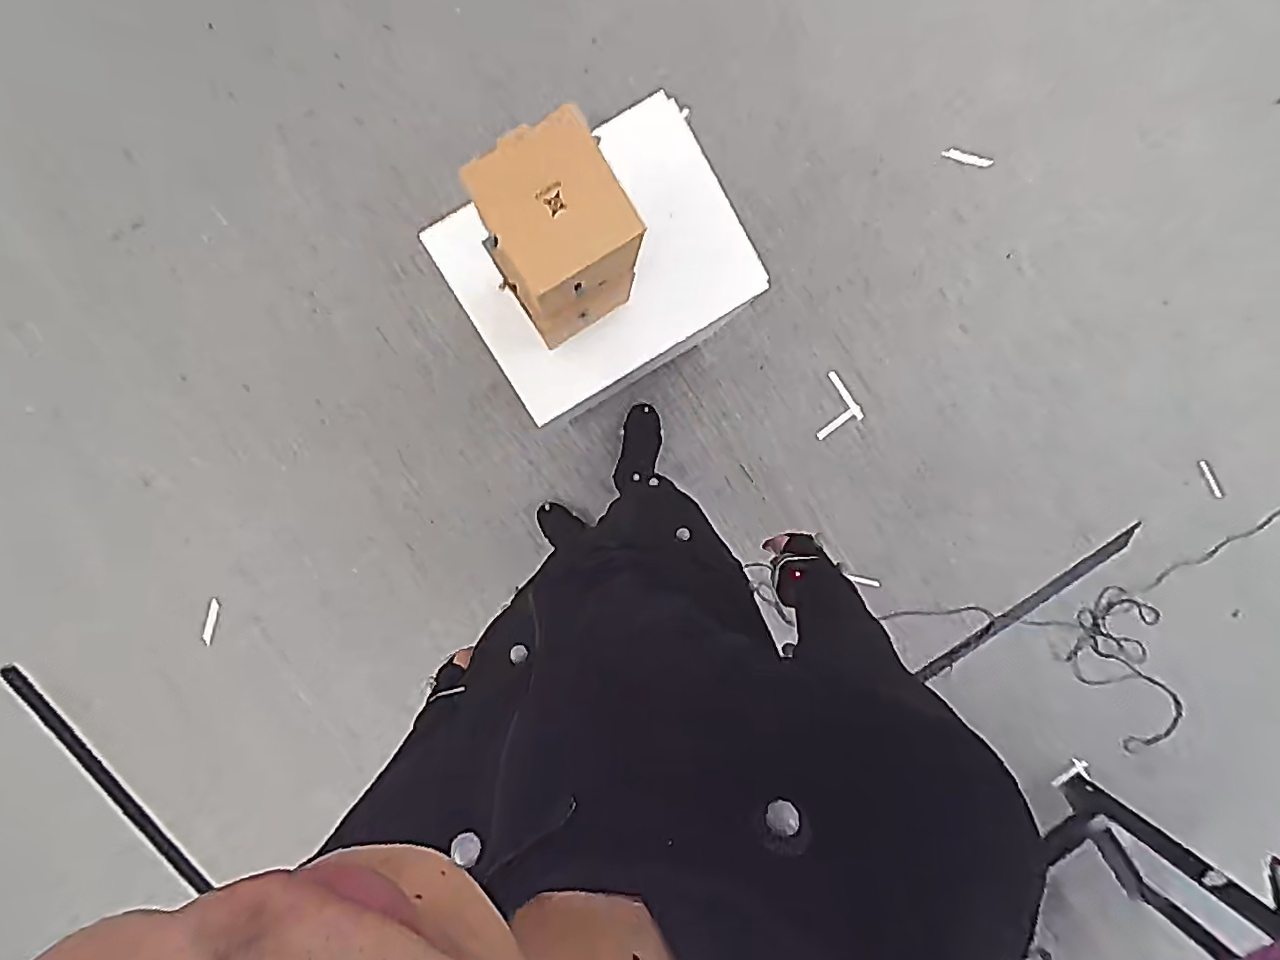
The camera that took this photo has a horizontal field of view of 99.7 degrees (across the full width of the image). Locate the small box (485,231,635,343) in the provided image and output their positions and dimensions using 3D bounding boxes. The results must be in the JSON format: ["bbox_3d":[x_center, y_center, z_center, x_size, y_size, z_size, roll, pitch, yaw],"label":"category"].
[{"bbox_3d":[-0.127,-0.350,0.901,0.179,0.176,0.168,-34,97,-2],"label":"small box"}]

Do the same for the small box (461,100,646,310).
[{"bbox_3d":[-0.109,-0.352,0.739,0.168,0.176,0.179,-33,97,-2],"label":"small box"}]
